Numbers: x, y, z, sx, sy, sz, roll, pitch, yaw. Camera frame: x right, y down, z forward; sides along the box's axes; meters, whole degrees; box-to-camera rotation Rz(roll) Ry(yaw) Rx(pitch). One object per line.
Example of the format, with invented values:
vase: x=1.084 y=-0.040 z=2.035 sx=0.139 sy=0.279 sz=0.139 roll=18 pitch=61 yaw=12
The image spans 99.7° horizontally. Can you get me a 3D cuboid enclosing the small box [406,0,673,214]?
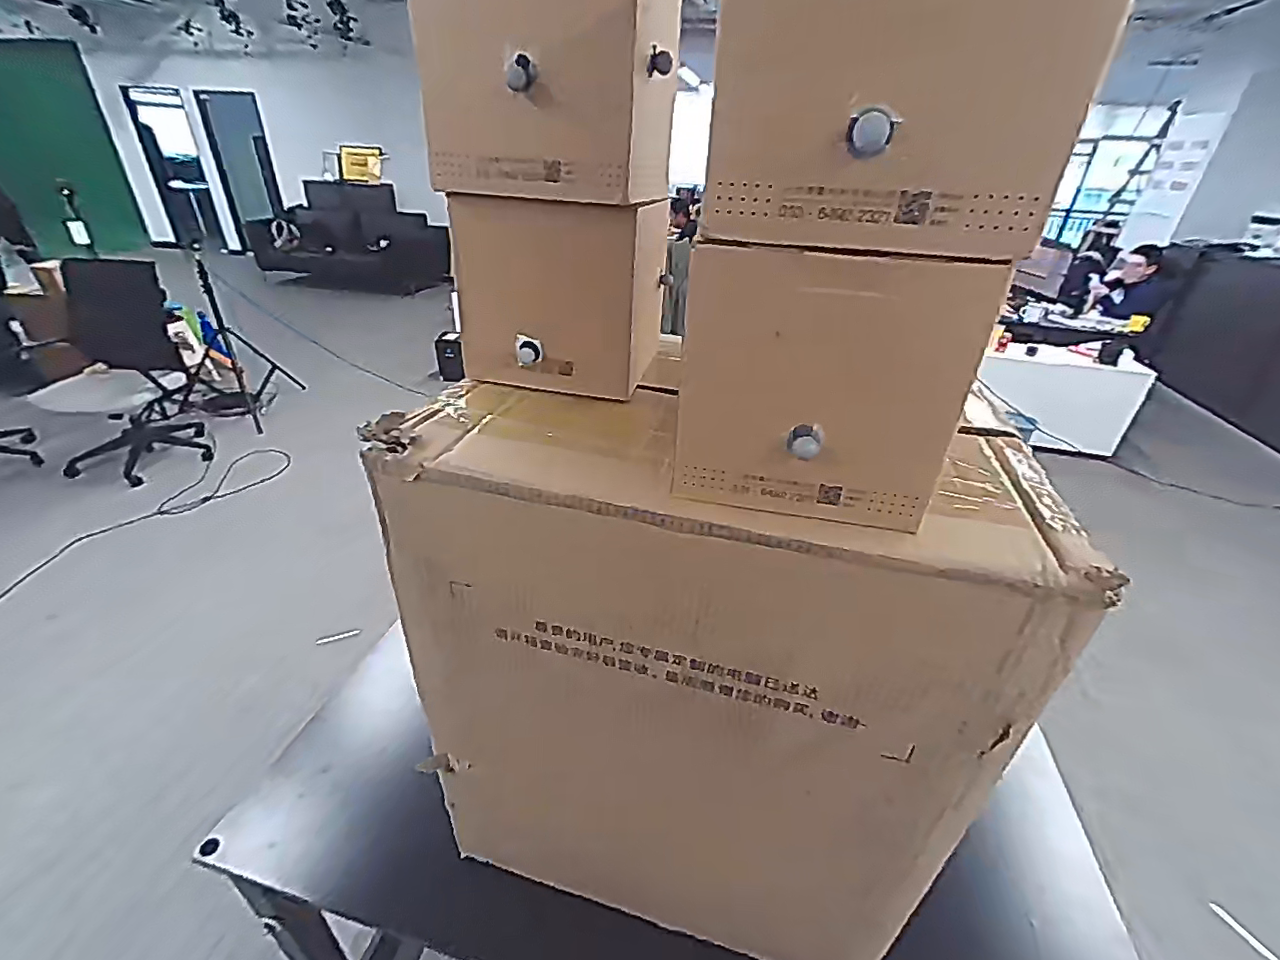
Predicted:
small box: x=-0.068 y=-0.326 z=0.458 sx=0.168 sy=0.176 sz=0.179 roll=8 pitch=31 yaw=9

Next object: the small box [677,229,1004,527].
small box: x=0.123 y=-0.090 z=0.399 sx=0.168 sy=0.176 sz=0.179 roll=8 pitch=31 yaw=11

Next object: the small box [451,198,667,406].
small box: x=-0.070 y=-0.191 z=0.553 sx=0.168 sy=0.176 sz=0.179 roll=7 pitch=31 yaw=8

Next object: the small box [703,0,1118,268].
small box: x=0.132 y=-0.228 z=0.310 sx=0.168 sy=0.176 sz=0.179 roll=8 pitch=32 yaw=11
